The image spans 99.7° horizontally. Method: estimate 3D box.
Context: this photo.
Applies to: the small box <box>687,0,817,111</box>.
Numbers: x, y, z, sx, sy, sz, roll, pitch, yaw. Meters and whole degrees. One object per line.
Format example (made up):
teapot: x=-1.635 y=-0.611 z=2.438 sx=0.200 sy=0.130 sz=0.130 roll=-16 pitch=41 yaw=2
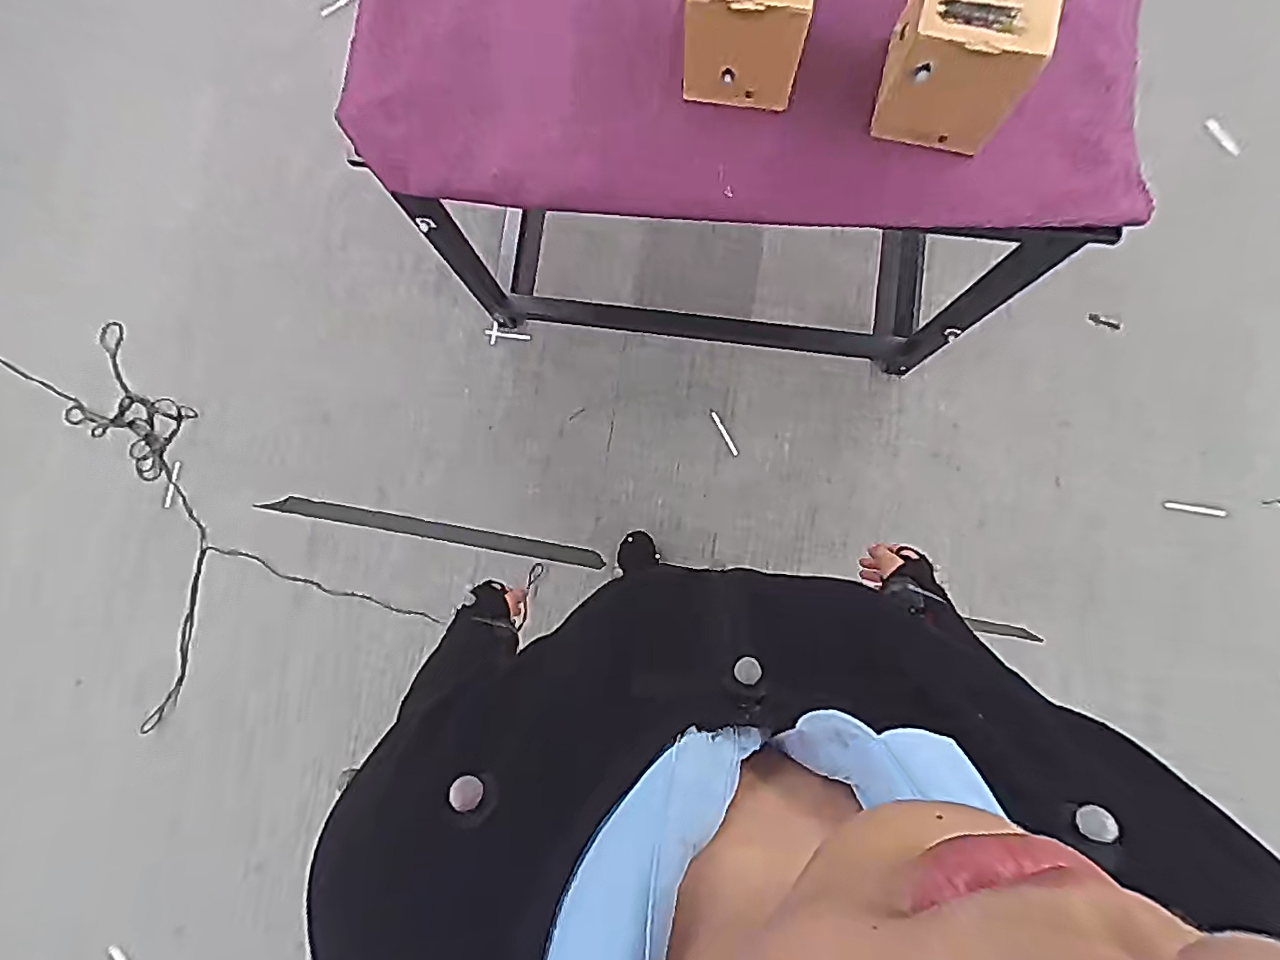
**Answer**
small box: x=0.163 y=-0.687 z=0.783 sx=0.168 sy=0.176 sz=0.179 roll=10 pitch=85 yaw=4
